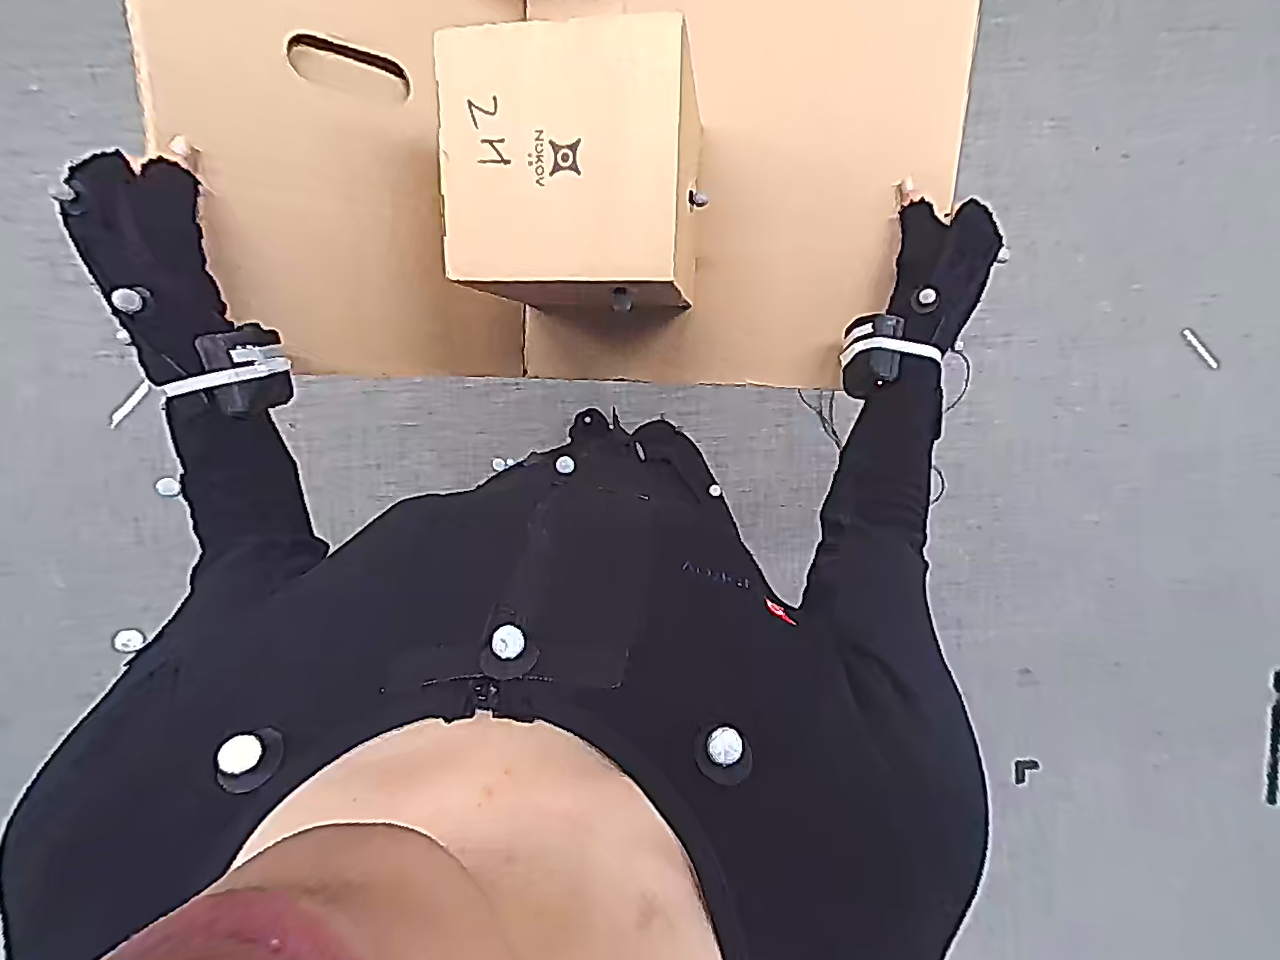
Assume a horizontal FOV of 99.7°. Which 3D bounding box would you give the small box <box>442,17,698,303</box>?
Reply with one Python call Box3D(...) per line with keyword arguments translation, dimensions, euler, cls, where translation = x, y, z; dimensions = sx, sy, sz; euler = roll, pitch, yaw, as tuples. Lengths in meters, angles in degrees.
Box3D(translation=(-0.044, -0.248, 0.462), dimensions=(0.179, 0.176, 0.168), euler=(4, 102, 10), cls="small box")
